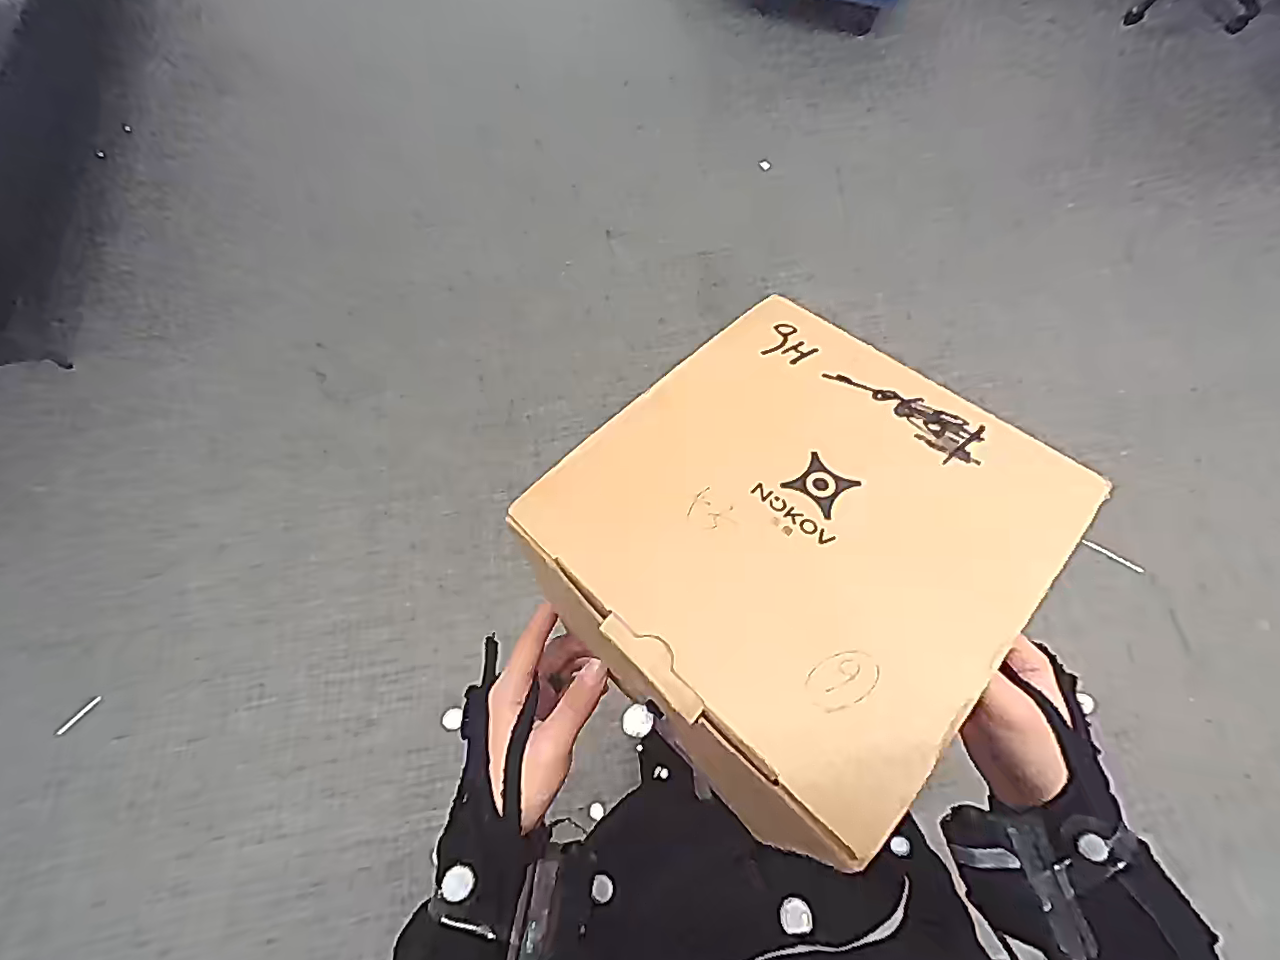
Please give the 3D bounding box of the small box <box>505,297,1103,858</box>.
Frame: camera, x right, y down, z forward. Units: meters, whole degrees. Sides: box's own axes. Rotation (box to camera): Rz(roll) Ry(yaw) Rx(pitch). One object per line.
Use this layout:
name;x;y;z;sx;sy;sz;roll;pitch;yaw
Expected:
small box;0.066;0.050;0.279;0.179;0.176;0.168;-41;65;-19
